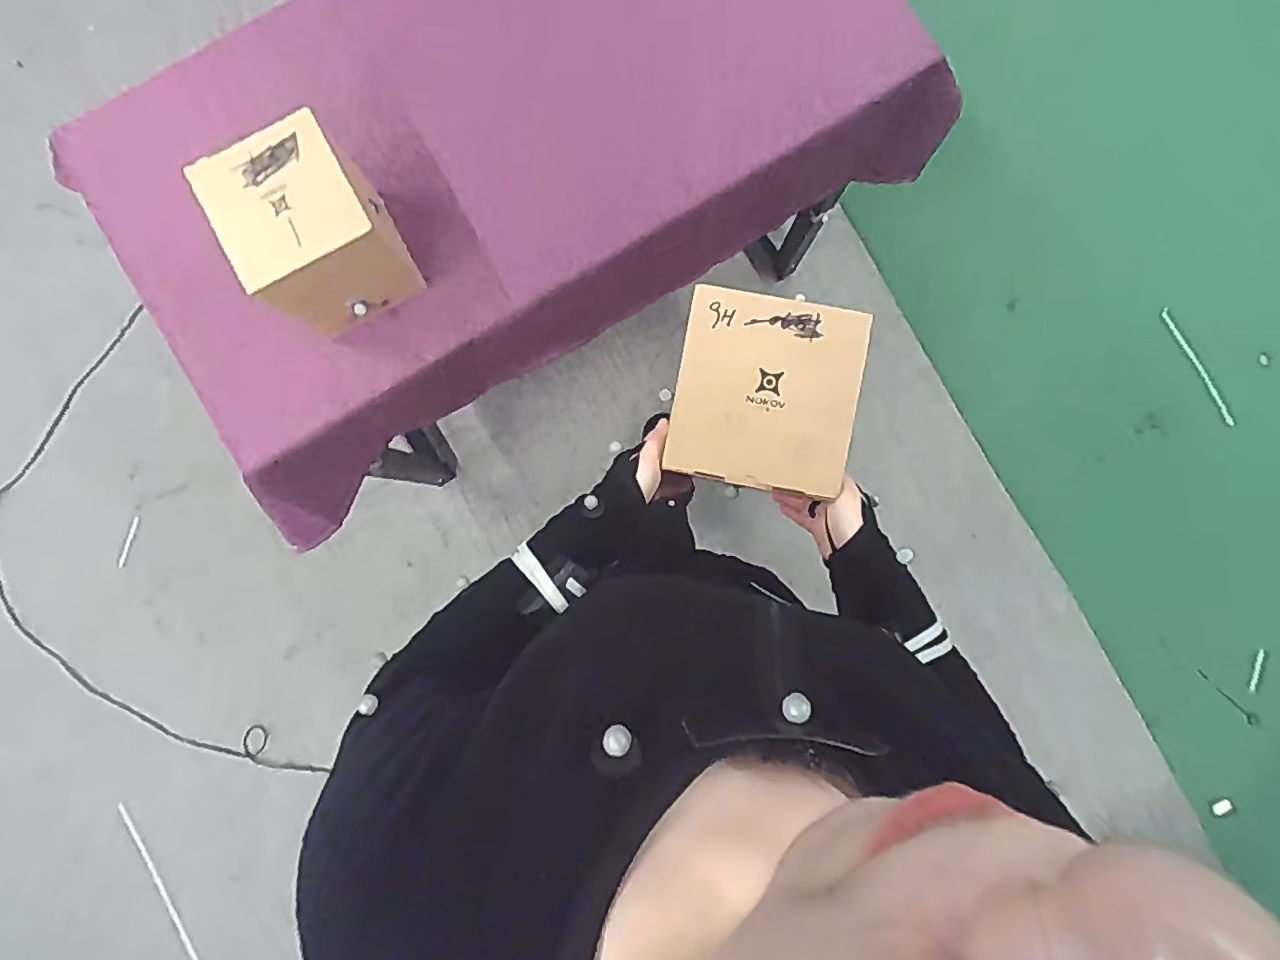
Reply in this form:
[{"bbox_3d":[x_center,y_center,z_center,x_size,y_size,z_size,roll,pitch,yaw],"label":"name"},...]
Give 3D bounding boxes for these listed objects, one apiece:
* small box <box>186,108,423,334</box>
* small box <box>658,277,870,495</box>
[{"bbox_3d":[-0.421,-0.323,0.709,0.168,0.176,0.179,-29,88,-2],"label":"small box"},{"bbox_3d":[0.116,-0.088,0.576,0.168,0.176,0.179,11,91,1],"label":"small box"}]
